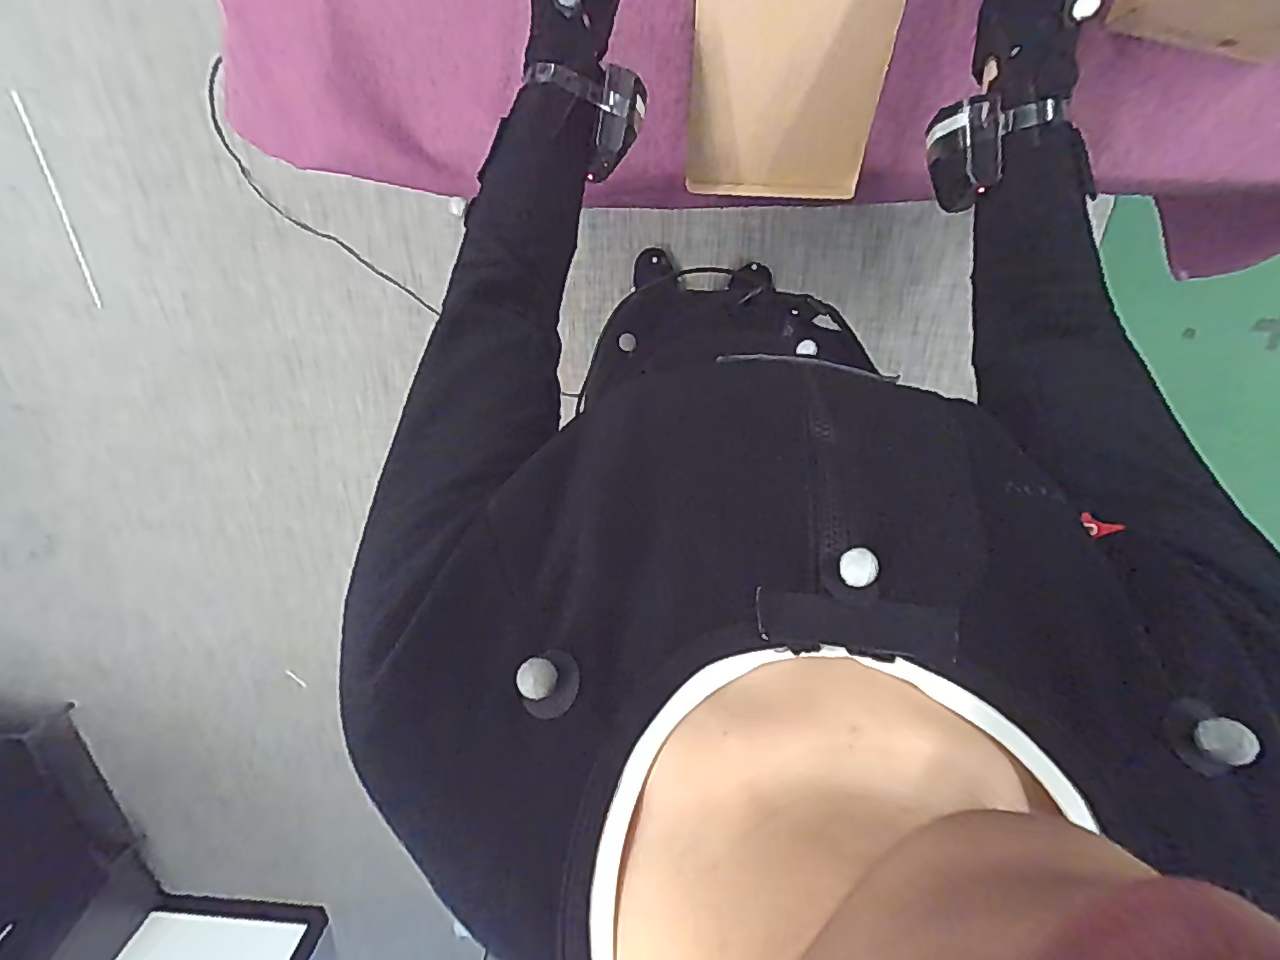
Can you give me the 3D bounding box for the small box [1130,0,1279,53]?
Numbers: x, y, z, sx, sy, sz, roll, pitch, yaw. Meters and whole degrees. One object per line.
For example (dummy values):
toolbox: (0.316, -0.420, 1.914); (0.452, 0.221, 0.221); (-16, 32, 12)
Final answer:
small box: (0.536, -0.464, 0.411); (0.168, 0.176, 0.179); (12, 114, -1)
